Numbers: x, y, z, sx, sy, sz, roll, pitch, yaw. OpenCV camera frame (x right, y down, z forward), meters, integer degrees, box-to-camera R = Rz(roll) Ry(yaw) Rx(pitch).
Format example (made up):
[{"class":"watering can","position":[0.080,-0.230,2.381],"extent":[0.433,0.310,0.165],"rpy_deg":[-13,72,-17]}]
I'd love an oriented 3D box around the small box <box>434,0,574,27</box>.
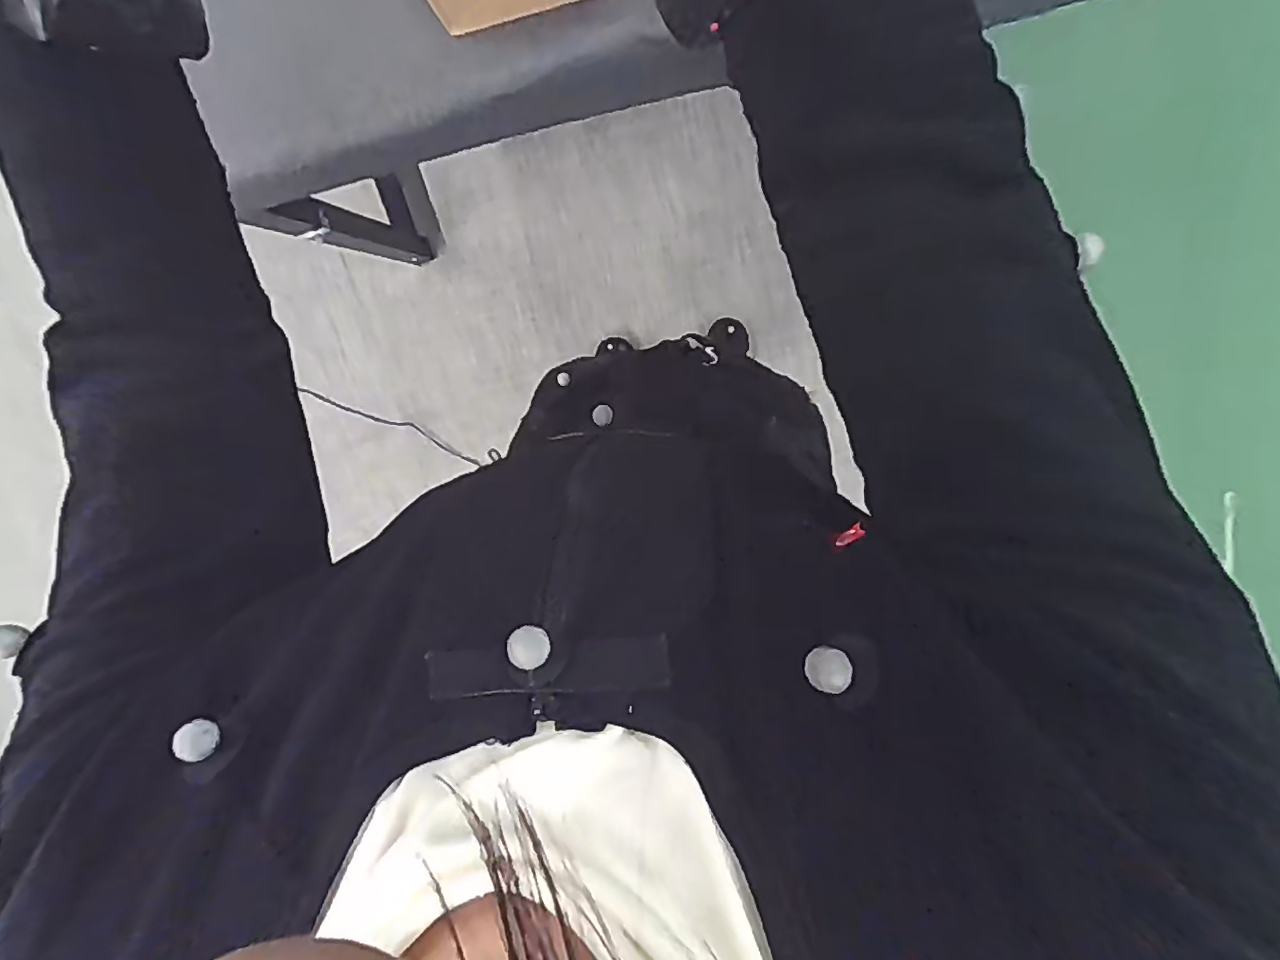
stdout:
[{"class":"small box","position":[-0.133,-0.538,0.461],"extent":[0.179,0.176,0.168],"rpy_deg":[-10,104,6]}]
